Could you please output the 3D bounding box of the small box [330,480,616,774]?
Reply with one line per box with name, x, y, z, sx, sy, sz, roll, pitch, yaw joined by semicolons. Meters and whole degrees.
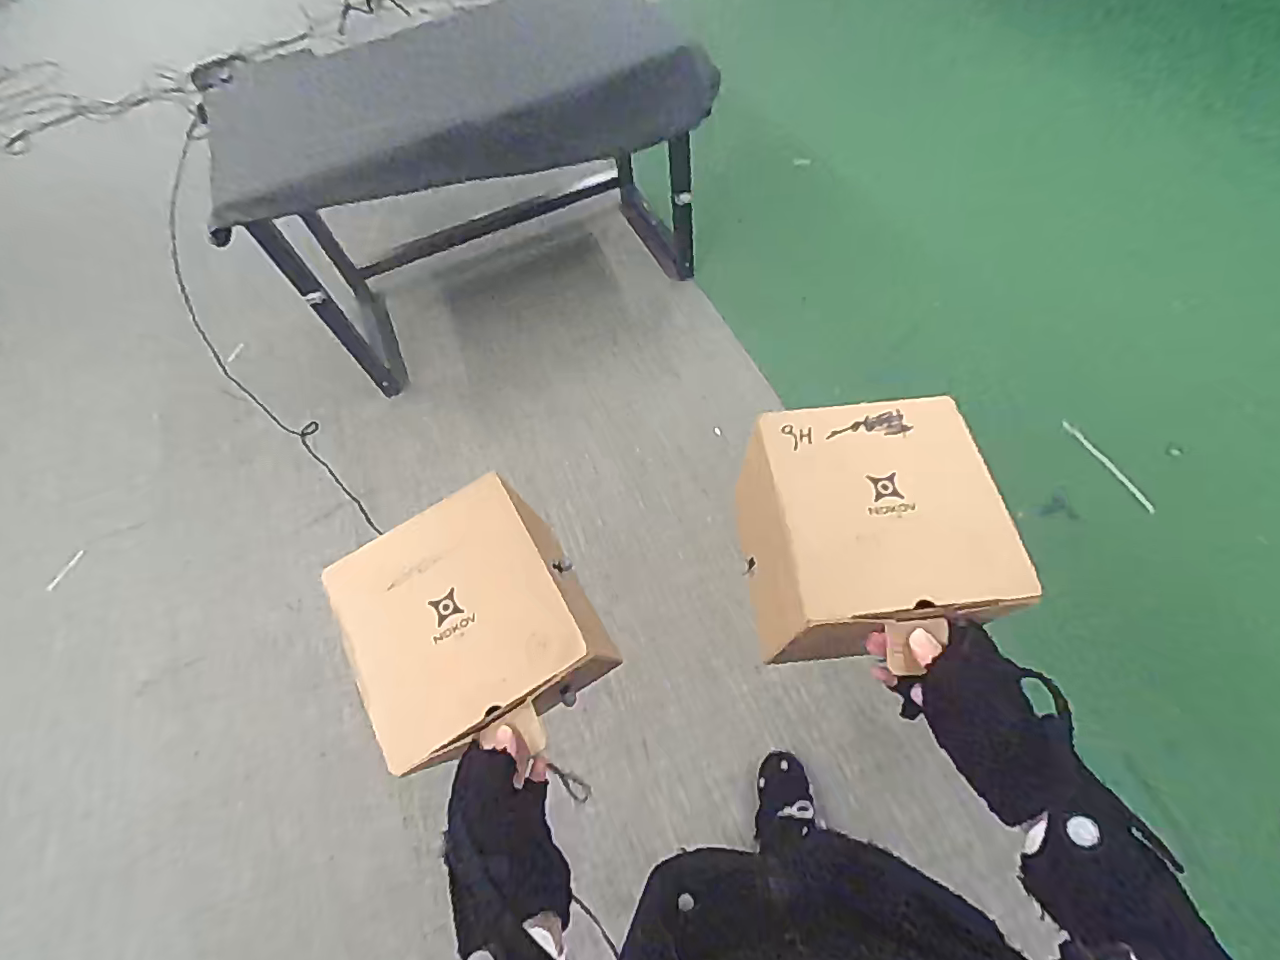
small box;-0.139;0.134;0.504;0.168;0.176;0.179;-32;69;-6
